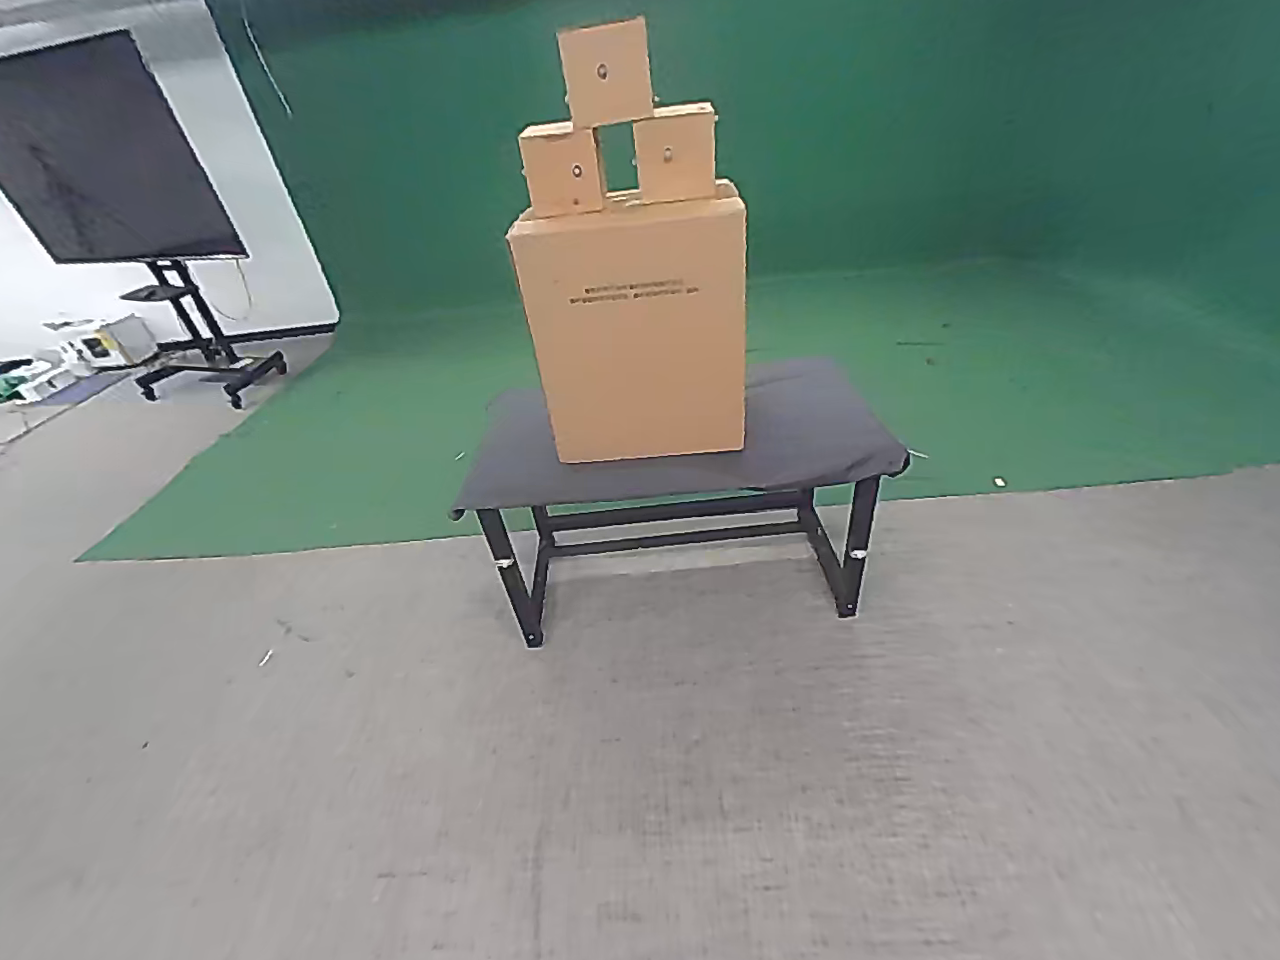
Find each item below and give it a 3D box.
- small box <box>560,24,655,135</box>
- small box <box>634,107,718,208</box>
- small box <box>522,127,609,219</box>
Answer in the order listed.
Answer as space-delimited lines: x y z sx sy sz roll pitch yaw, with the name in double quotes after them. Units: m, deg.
-0.061 -0.865 1.170 0.179 0.176 0.168 -6 39 6 "small box"
0.087 -0.750 1.262 0.179 0.176 0.168 -5 40 7 "small box"
-0.168 -0.728 1.284 0.168 0.176 0.179 -4 38 3 "small box"
